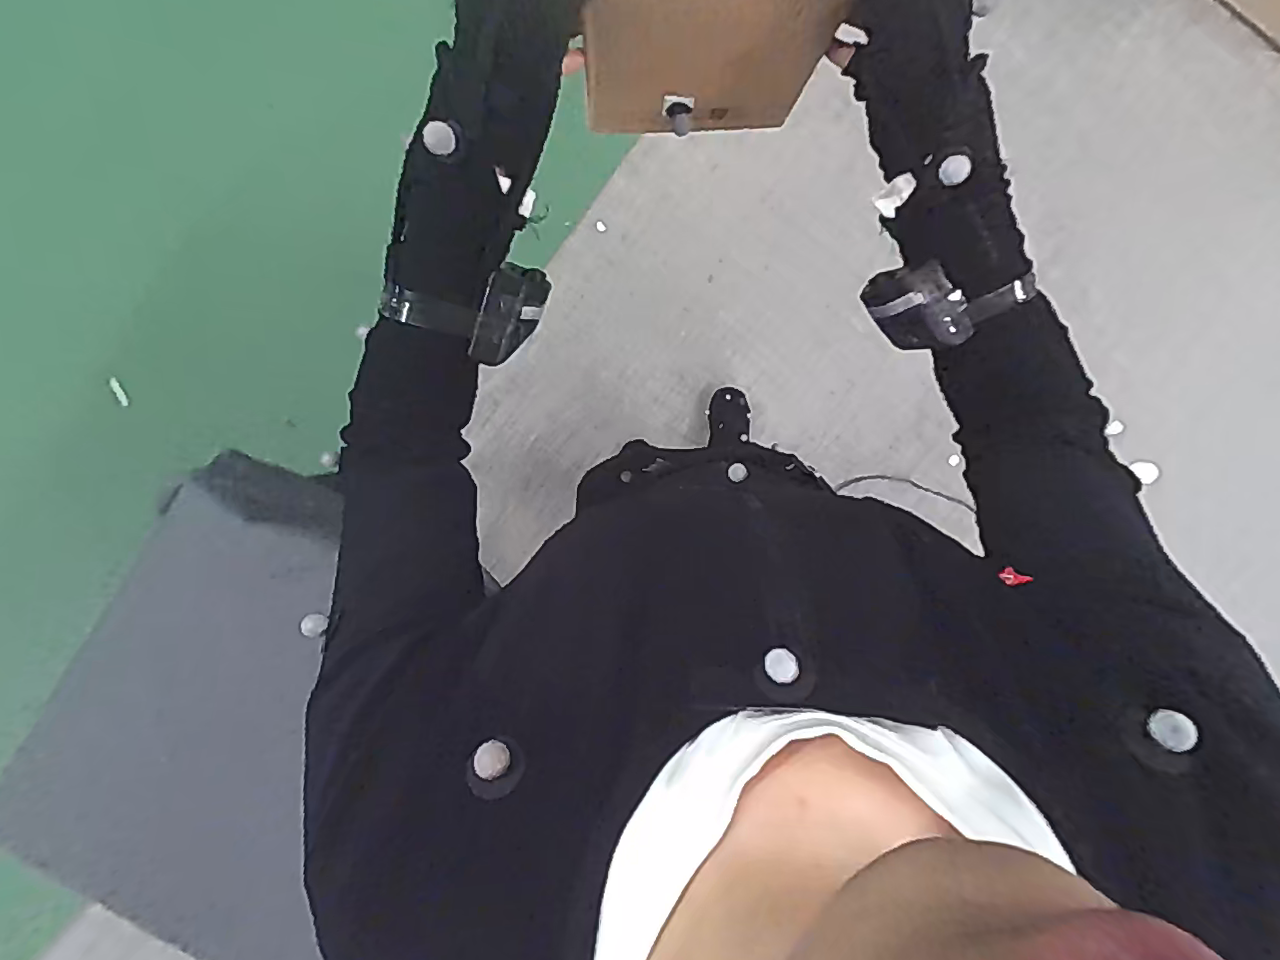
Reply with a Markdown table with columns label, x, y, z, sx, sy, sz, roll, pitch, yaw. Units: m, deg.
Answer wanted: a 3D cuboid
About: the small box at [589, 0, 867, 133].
| label | x | y | z | sx | sy | sz | roll | pitch | yaw |
| --- | --- | --- | --- | --- | --- | --- | --- | --- | --- |
| small box | 0.047 | -0.372 | 0.364 | 0.168 | 0.176 | 0.179 | -5 | 97 | -2 |
